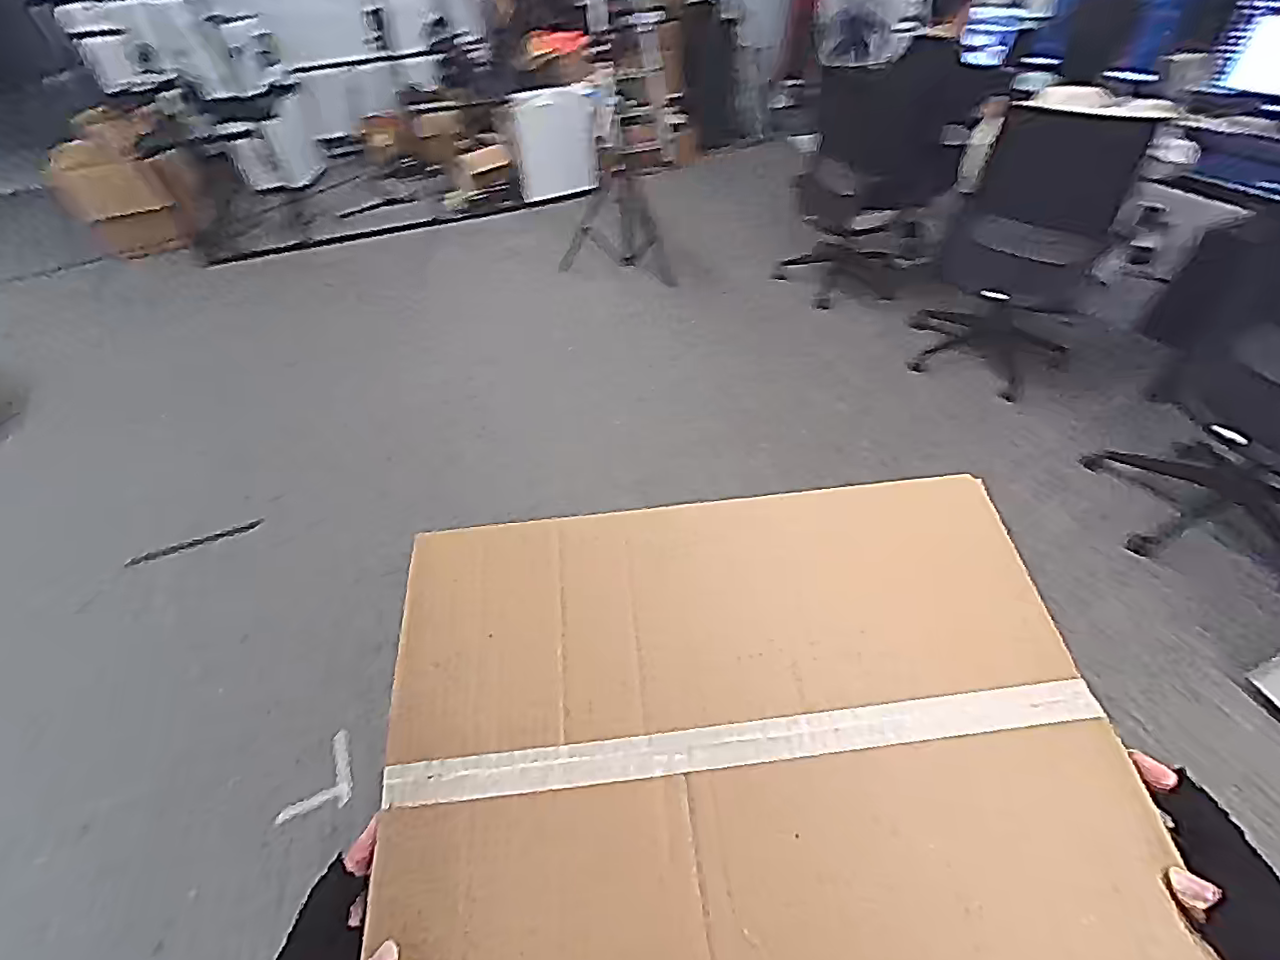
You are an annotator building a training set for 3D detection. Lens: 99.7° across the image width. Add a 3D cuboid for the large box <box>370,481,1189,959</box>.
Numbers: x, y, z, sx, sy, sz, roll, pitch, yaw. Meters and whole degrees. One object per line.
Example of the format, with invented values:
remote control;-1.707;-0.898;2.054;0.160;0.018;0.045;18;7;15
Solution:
large box;0.058;0.233;0.441;0.408;0.320;0.320;-8;58;-2
